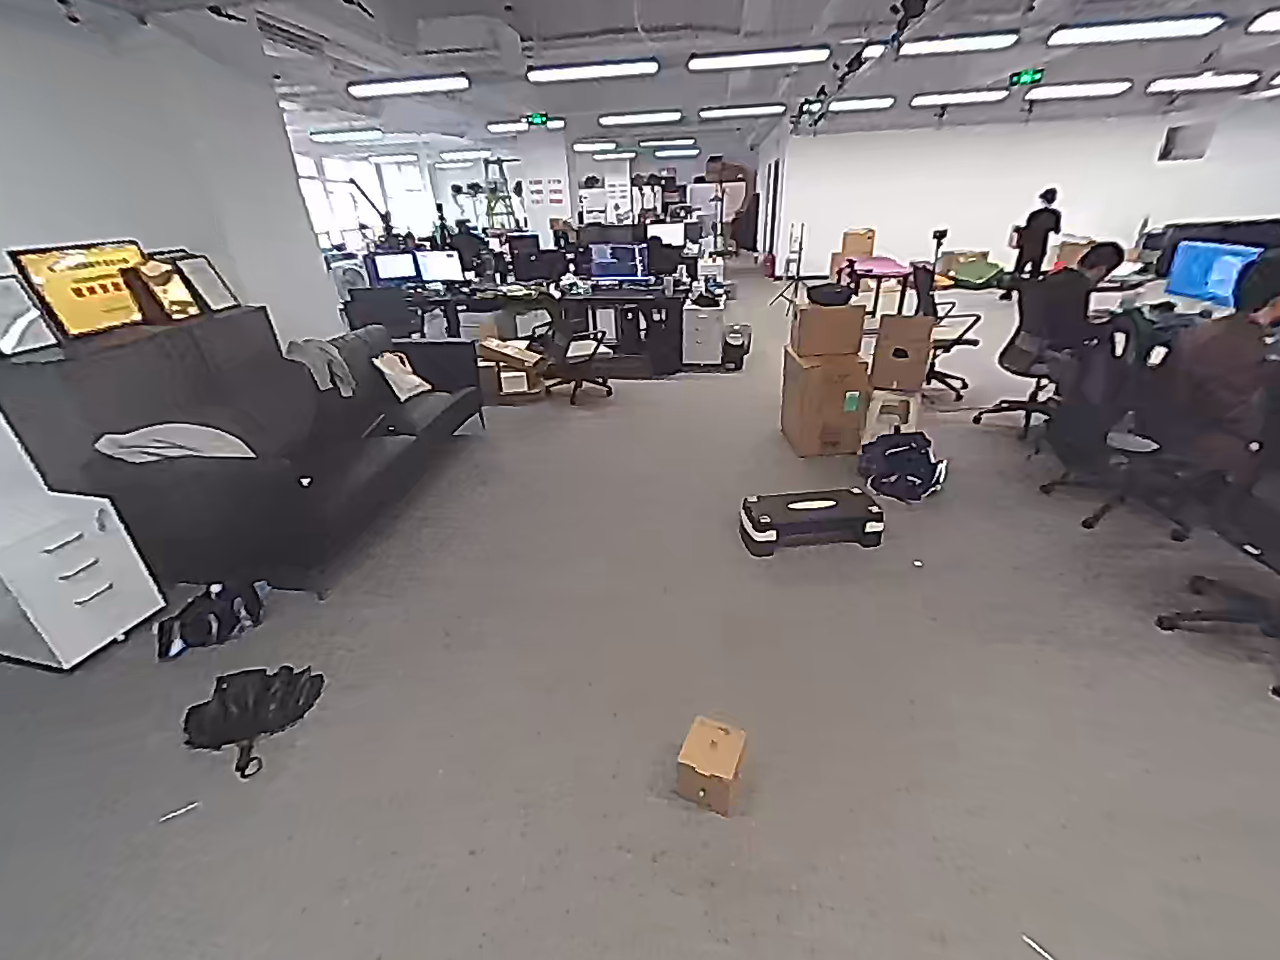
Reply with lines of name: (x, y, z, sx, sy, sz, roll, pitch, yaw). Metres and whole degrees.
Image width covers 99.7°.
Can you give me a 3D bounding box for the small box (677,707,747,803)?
small box: (0.223, 0.834, 1.638, 0.168, 0.176, 0.179, 9, 31, 24)
